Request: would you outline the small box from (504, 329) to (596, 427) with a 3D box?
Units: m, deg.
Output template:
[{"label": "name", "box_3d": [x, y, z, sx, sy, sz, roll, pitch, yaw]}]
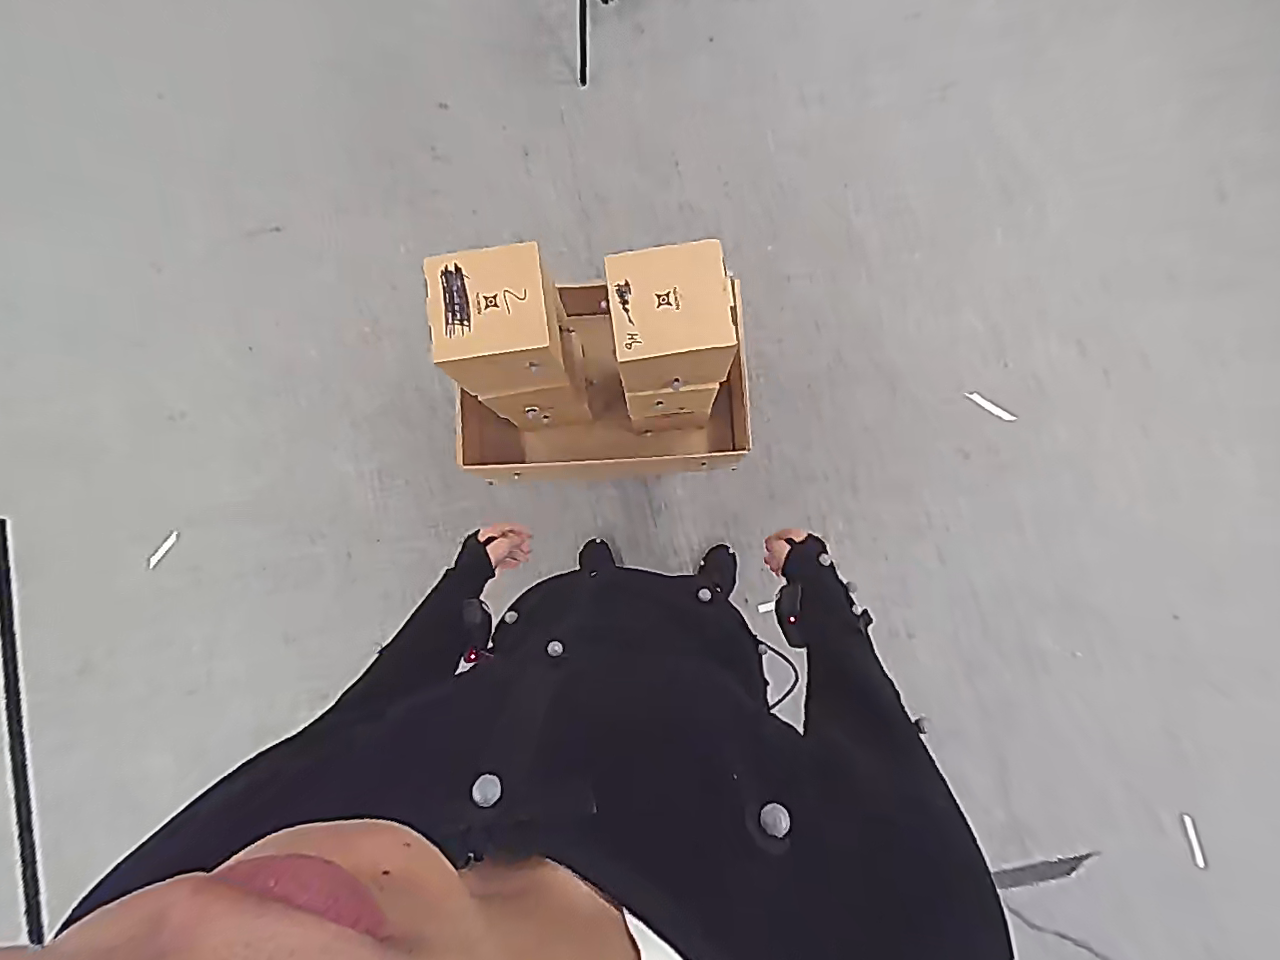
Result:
[{"label": "small box", "box_3d": [-0.199, -0.217, 1.193, 0.179, 0.176, 0.168, -6, 84, 0]}]

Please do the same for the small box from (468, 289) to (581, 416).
[{"label": "small box", "box_3d": [-0.213, -0.234, 1.030, 0.168, 0.176, 0.179, -9, 84, 2]}]

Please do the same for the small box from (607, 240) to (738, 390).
[{"label": "small box", "box_3d": [0.047, -0.252, 0.860, 0.179, 0.176, 0.168, -7, 83, 1]}]

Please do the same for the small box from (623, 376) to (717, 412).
[{"label": "small box", "box_3d": [0.051, -0.231, 1.023, 0.168, 0.176, 0.179, -5, 83, 2]}]
